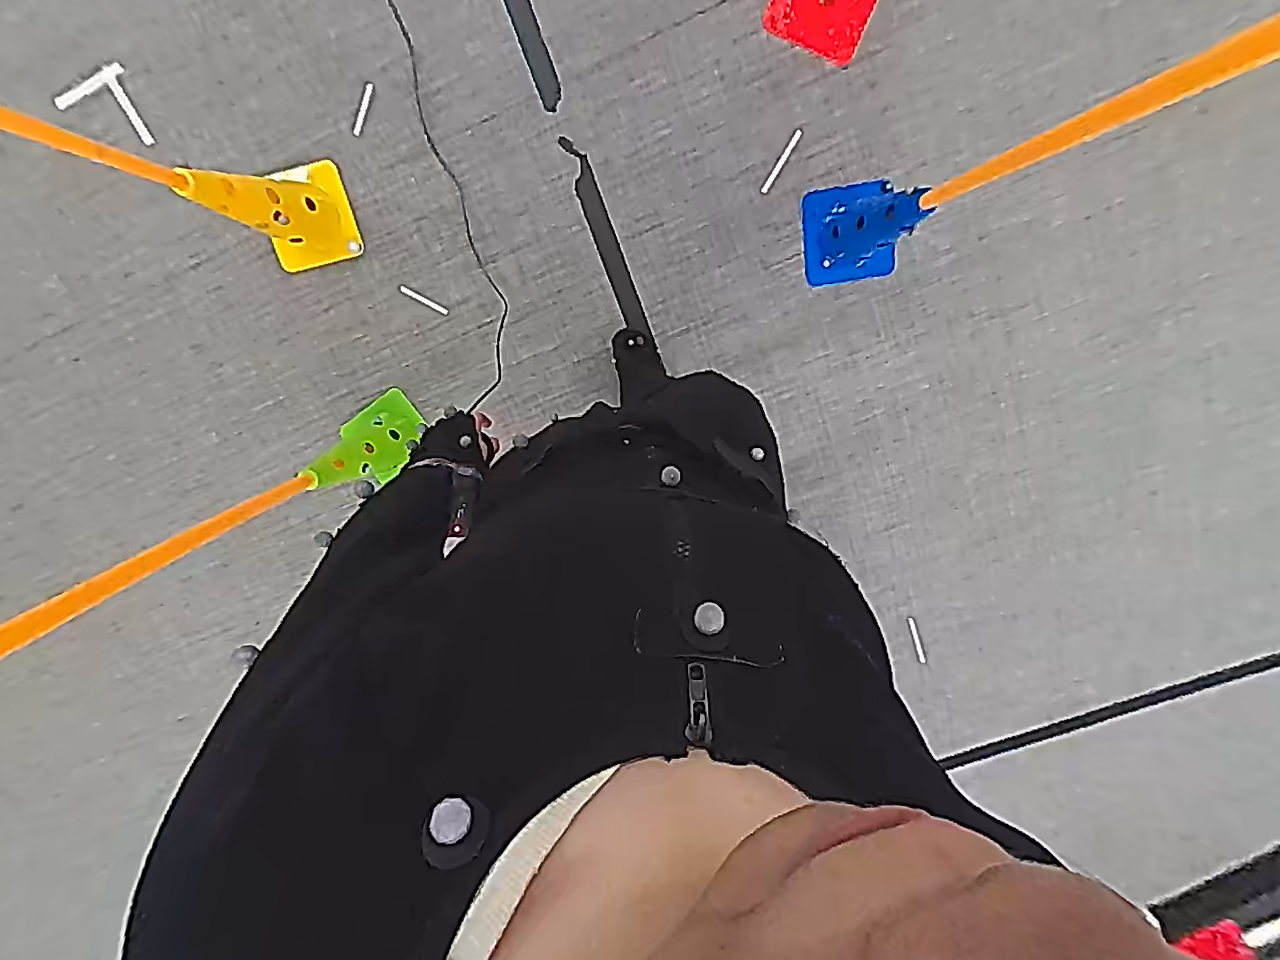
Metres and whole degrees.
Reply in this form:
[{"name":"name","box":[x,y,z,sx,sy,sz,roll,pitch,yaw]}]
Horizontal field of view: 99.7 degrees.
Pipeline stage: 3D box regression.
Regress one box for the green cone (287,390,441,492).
[{"name":"green cone","box":[-0.622,-0.049,1.167,0.200,0.368,0.202,-34,101,10]}]

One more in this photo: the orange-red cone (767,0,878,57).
[{"name":"orange-red cone","box":[0.368,-0.925,0.902,0.198,0.360,0.199,23,106,-5]}]

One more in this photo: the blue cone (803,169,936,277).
[{"name":"blue cone","box":[0.458,-0.511,1.035,0.193,0.380,0.192,-6,105,3]}]
